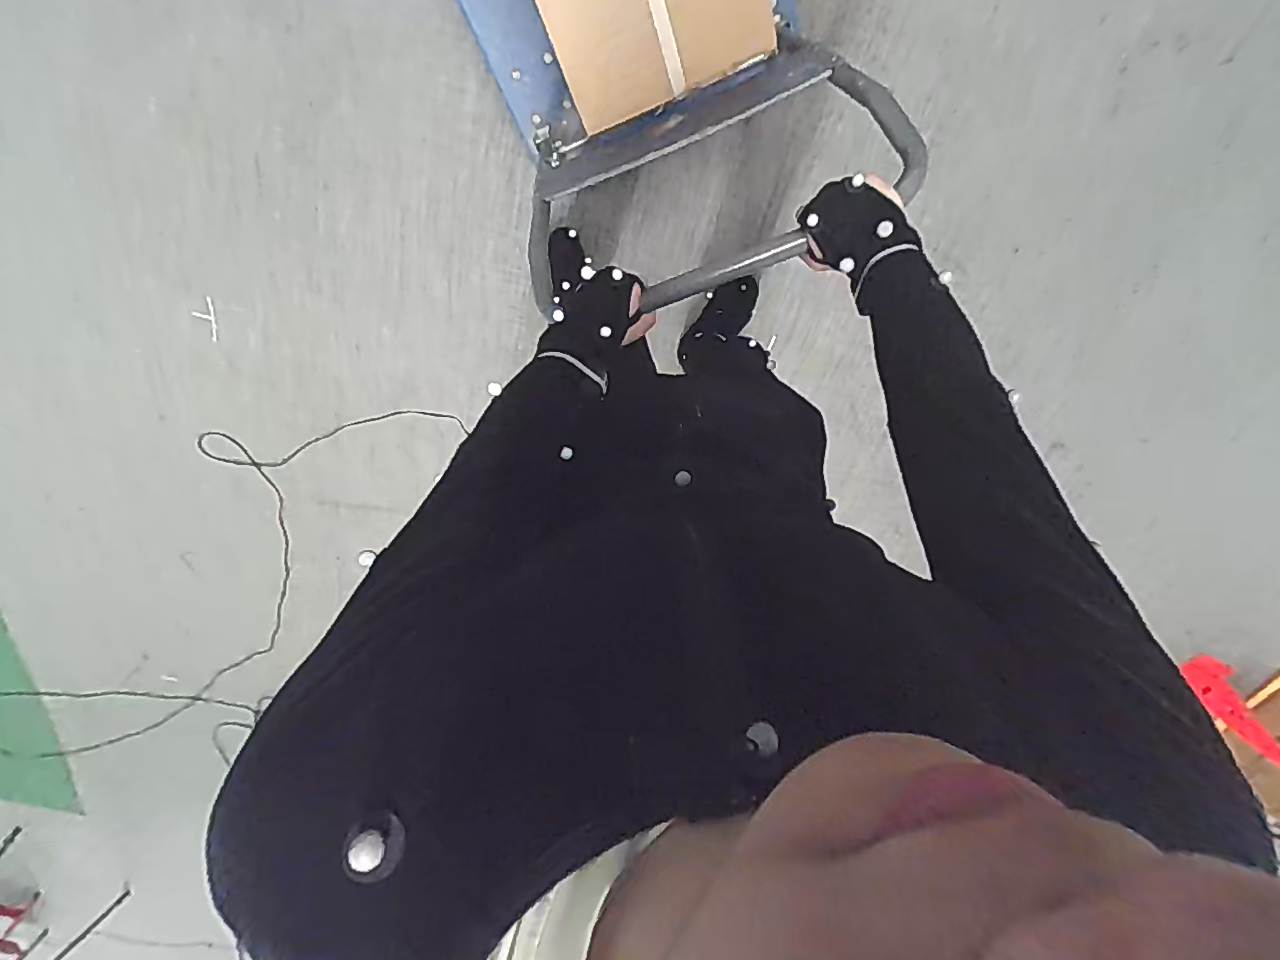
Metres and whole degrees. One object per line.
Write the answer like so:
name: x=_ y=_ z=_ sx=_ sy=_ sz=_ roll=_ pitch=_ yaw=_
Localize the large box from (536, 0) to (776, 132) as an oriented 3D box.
large box: x=-0.019 y=-0.835 z=0.818 sx=0.320 sy=0.320 sz=0.408 roll=-19 pitch=132 yaw=12
